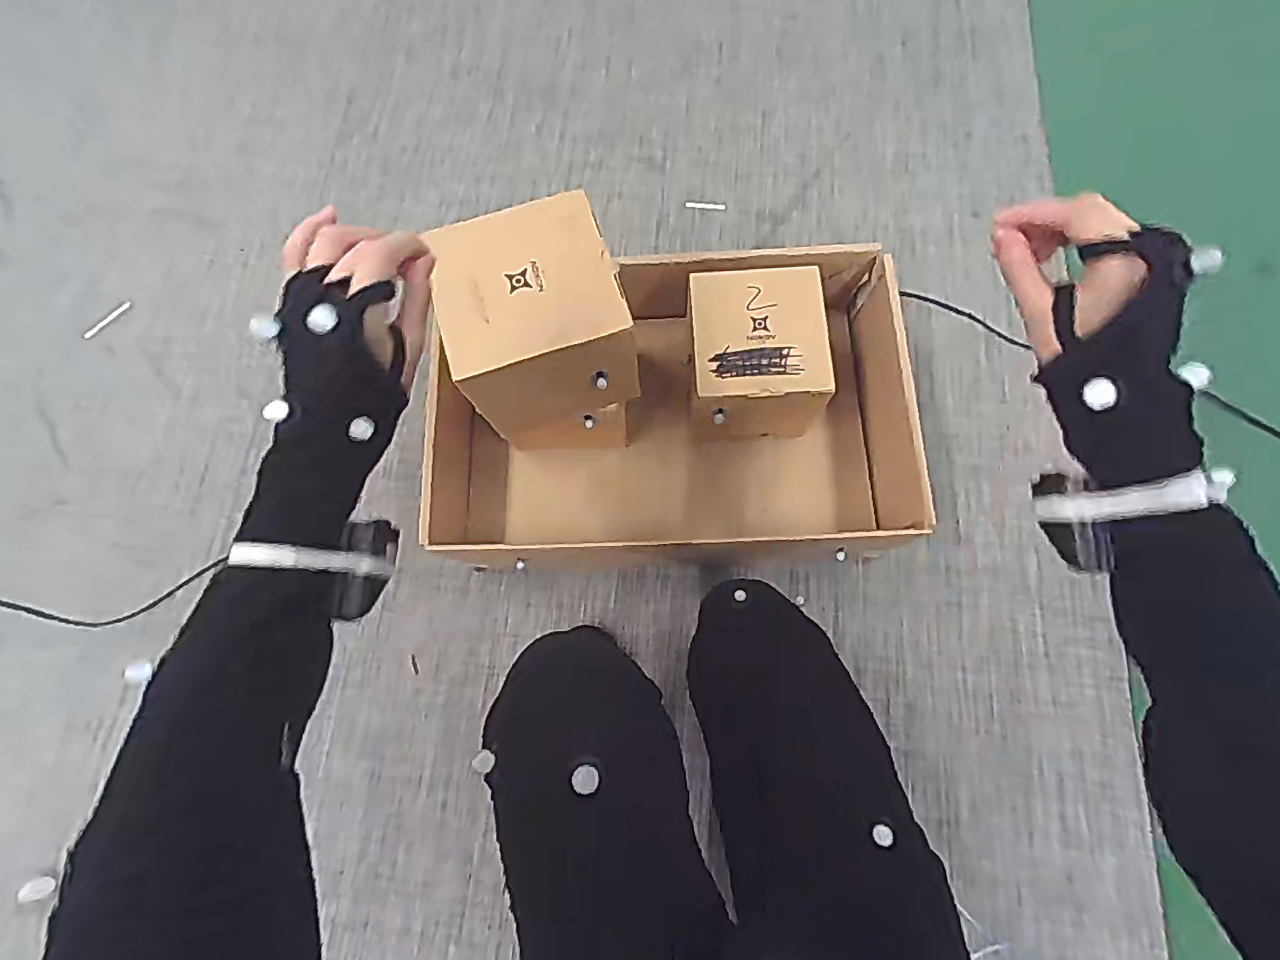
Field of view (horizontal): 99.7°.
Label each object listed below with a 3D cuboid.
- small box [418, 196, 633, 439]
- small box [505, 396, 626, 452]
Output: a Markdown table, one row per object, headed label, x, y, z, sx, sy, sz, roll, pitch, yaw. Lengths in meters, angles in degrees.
| label | x | y | z | sx | sy | sz | roll | pitch | yaw |
| --- | --- | --- | --- | --- | --- | --- | --- | --- | --- |
| small box | -0.111 | -0.164 | 0.592 | 0.179 | 0.176 | 0.168 | -18 | 76 | -2 |
| small box | -0.112 | -0.140 | 0.754 | 0.179 | 0.176 | 0.168 | -1 | 76 | 1 |
